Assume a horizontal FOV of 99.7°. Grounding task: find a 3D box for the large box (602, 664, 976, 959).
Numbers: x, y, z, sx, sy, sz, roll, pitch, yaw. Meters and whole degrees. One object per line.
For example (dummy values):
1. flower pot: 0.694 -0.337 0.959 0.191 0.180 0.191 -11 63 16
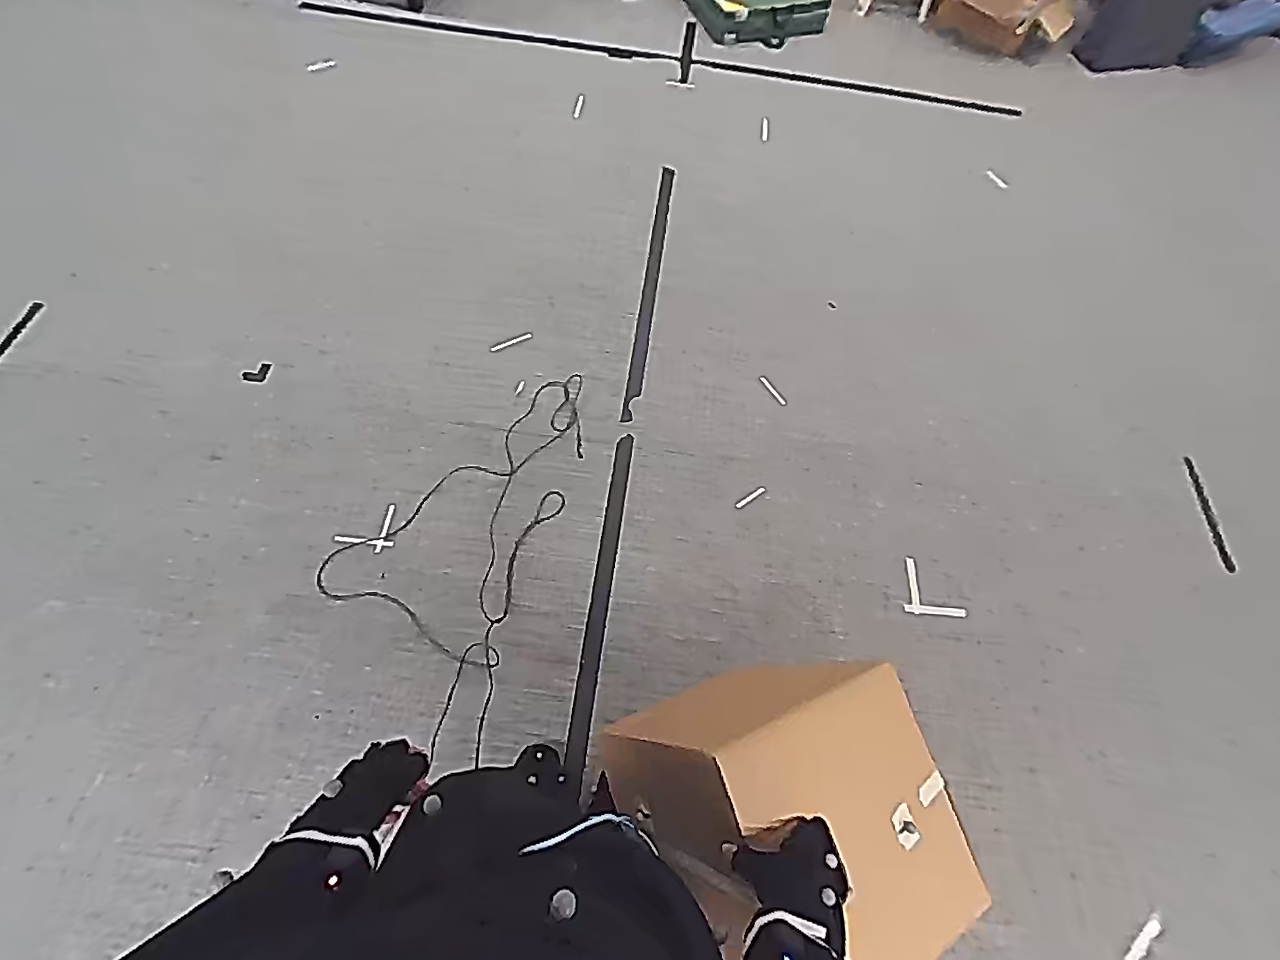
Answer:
1. large box: 0.185 0.496 0.825 0.320 0.408 0.320 -13 75 -27
